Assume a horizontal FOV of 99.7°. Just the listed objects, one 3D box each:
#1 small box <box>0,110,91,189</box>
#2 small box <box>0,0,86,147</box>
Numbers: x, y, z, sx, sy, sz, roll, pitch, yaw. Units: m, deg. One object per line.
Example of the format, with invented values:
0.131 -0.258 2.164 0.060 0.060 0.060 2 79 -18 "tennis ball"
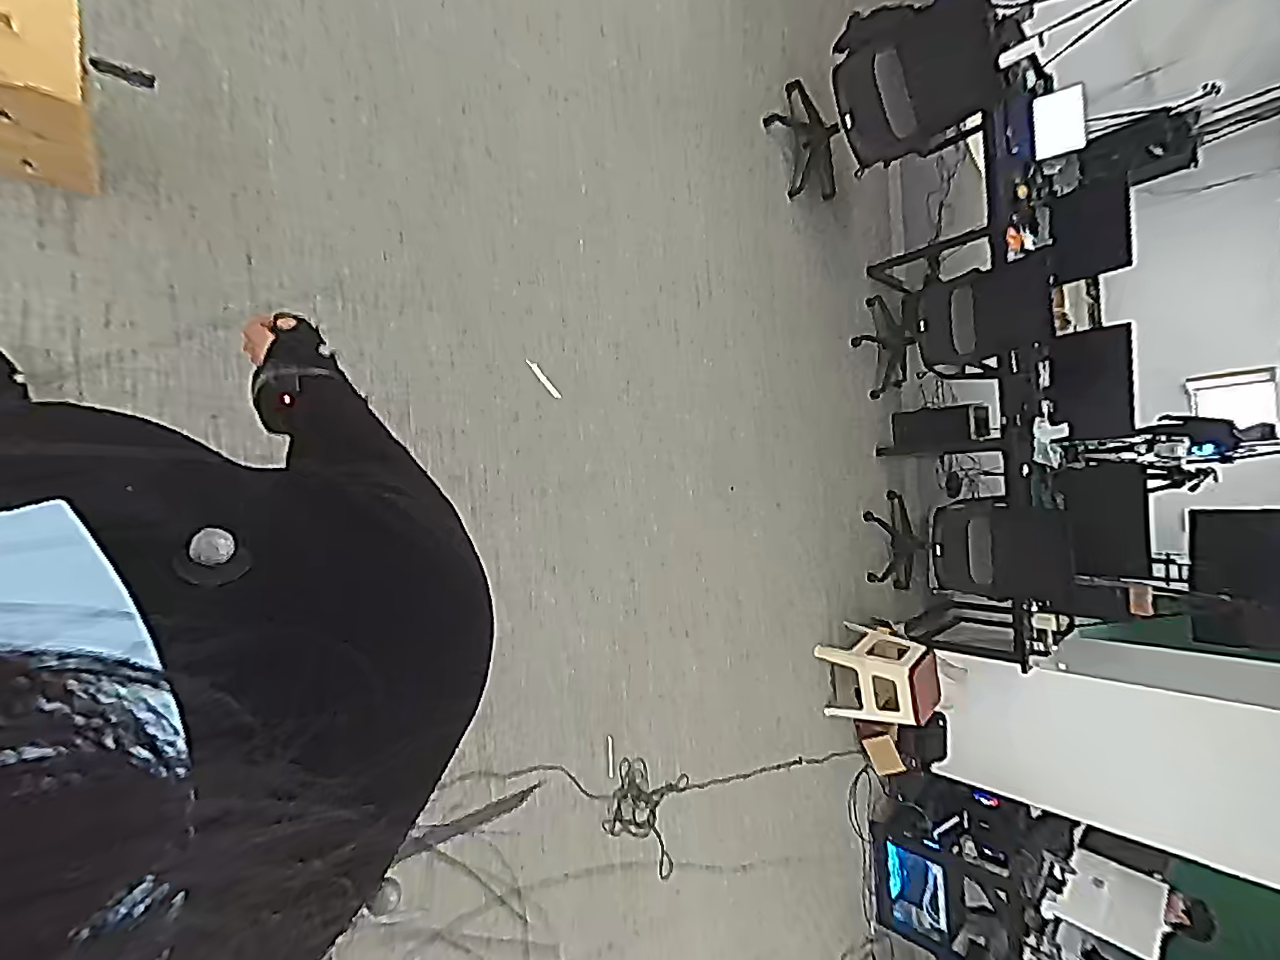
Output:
-1.113 -0.661 0.971 0.168 0.176 0.179 -4 90 -43 "small box"
-1.001 -0.678 0.853 0.168 0.176 0.179 -2 89 -42 "small box"
